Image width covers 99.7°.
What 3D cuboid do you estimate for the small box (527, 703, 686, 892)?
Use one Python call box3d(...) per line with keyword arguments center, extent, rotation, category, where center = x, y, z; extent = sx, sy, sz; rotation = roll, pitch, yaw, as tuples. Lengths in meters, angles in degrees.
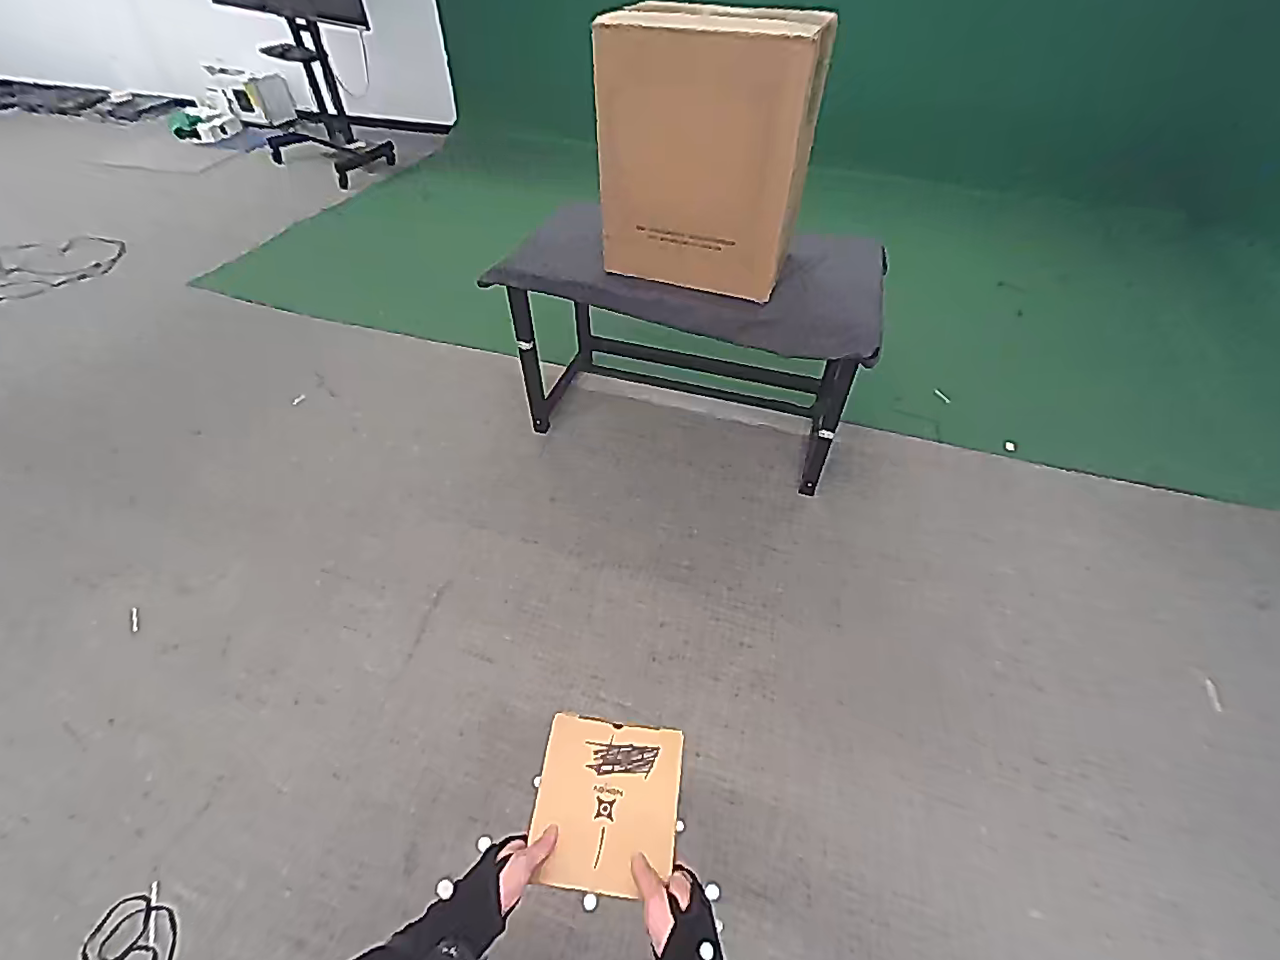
box3d(center=(-0.037, 0.410, 0.697), extent=(0.168, 0.176, 0.179), rotation=(7, 54, 3), category="small box")
